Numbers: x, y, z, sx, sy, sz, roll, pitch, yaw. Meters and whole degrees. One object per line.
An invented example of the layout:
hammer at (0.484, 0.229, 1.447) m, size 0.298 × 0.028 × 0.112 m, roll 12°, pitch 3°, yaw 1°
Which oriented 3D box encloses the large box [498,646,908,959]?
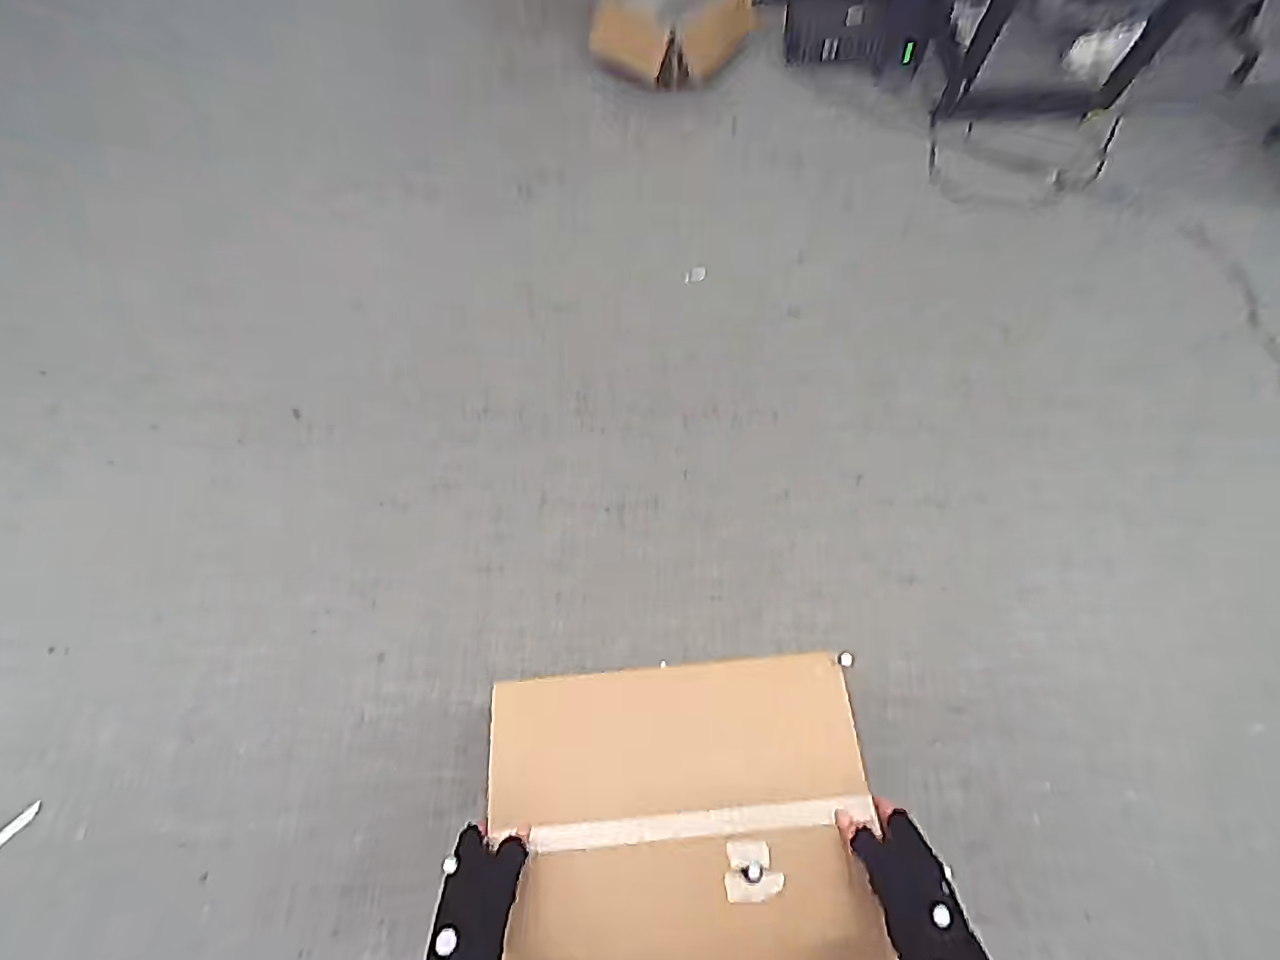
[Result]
large box at (0.050, 0.416, 0.708) m, size 0.408 × 0.320 × 0.320 m, roll -5°, pitch 67°, yaw -1°
